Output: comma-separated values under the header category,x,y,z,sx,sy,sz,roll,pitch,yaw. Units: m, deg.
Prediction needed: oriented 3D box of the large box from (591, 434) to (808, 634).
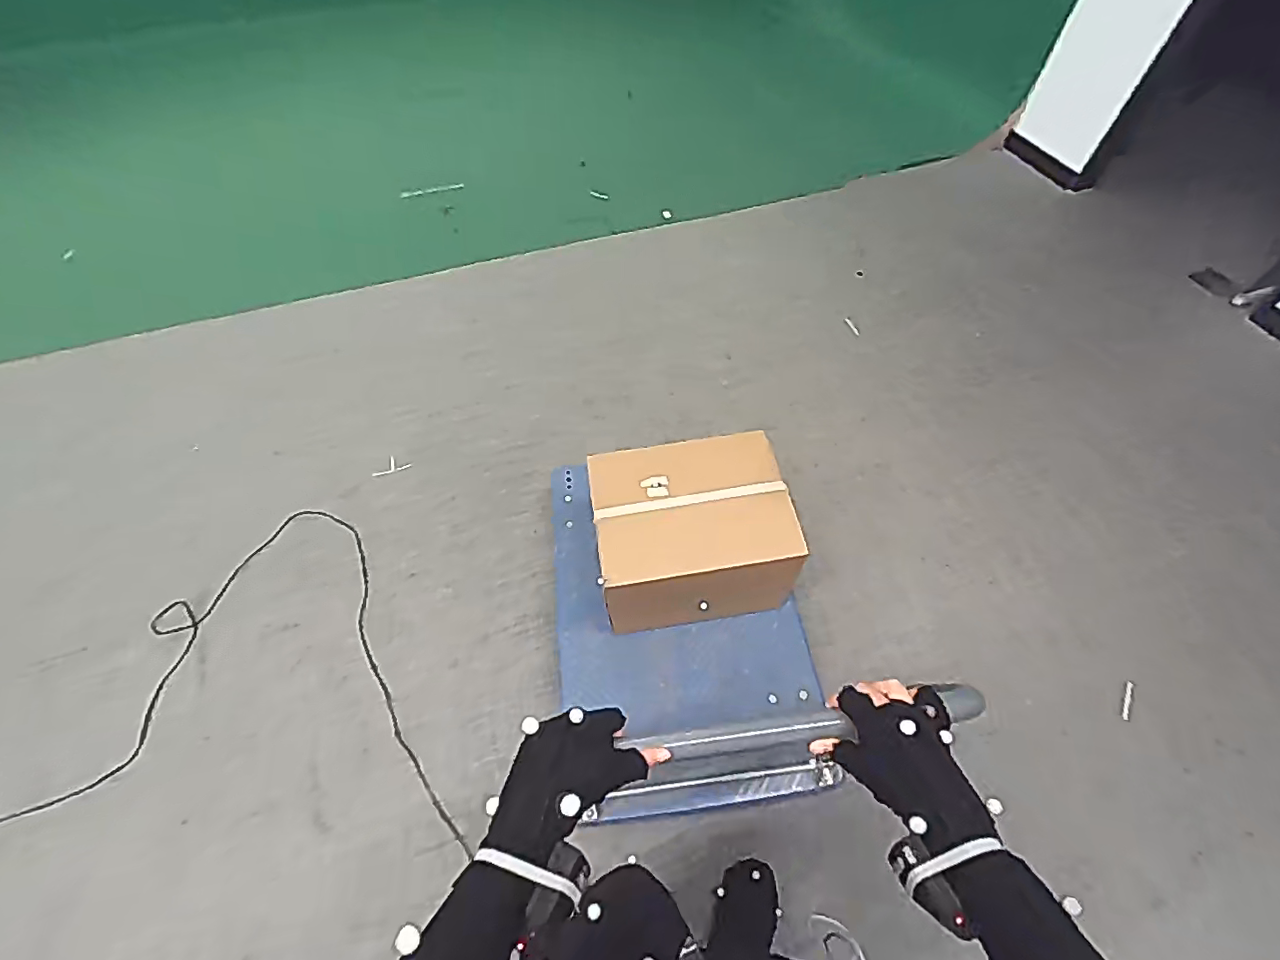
category,x,y,z,sx,sy,sz,roll,pitch,yaw
large box,0.118,0.134,1.252,0.408,0.320,0.320,-9,57,-4
